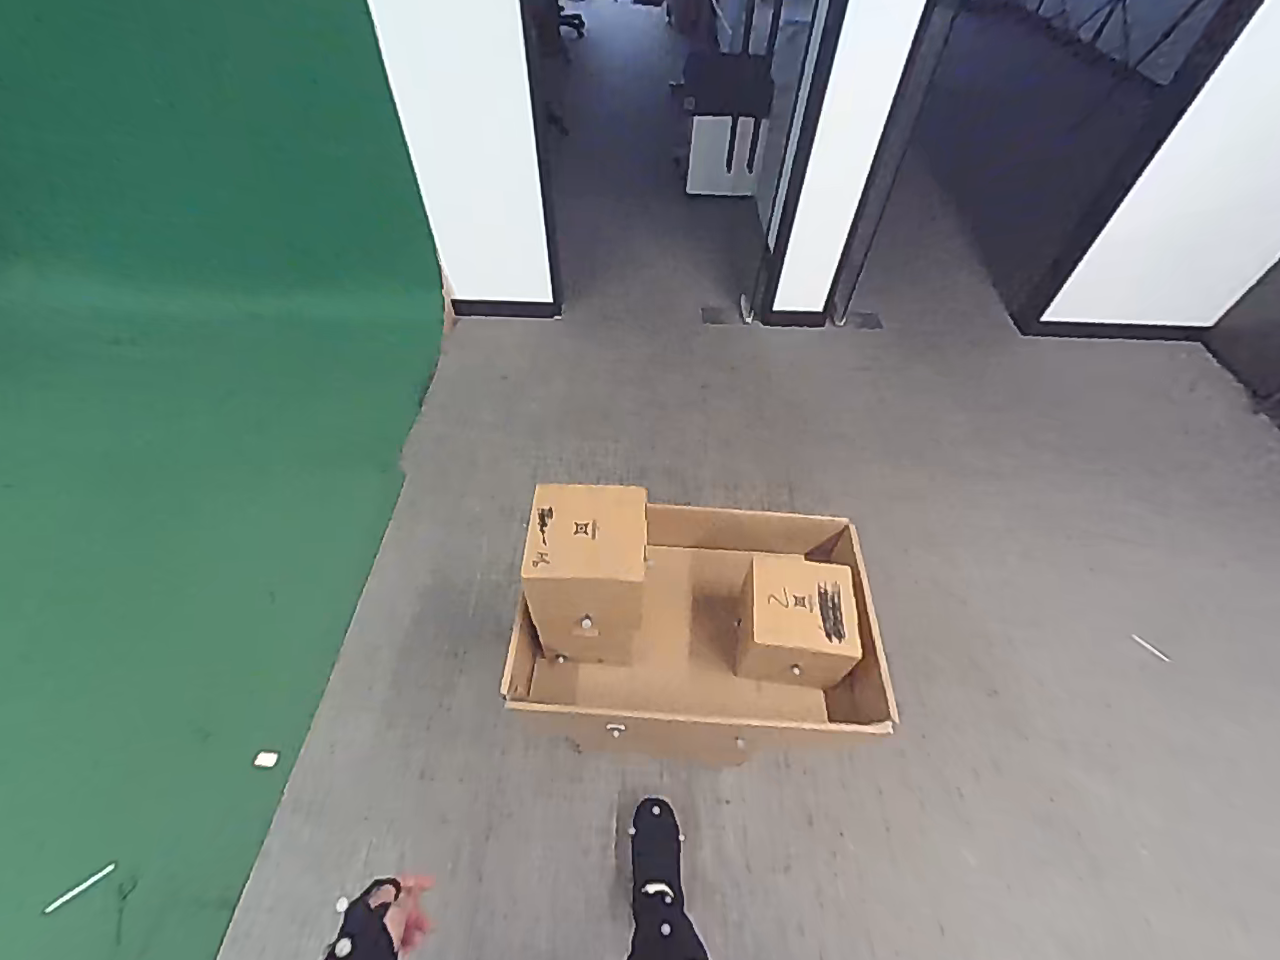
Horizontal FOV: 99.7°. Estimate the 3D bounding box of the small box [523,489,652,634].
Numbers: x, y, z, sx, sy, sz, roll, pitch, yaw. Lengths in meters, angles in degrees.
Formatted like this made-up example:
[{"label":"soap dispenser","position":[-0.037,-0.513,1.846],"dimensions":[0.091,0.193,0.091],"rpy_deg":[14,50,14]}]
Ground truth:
[{"label":"small box","position":[-0.075,0.133,0.857],"dimensions":[0.179,0.176,0.168],"rpy_deg":[2,50,0]}]
